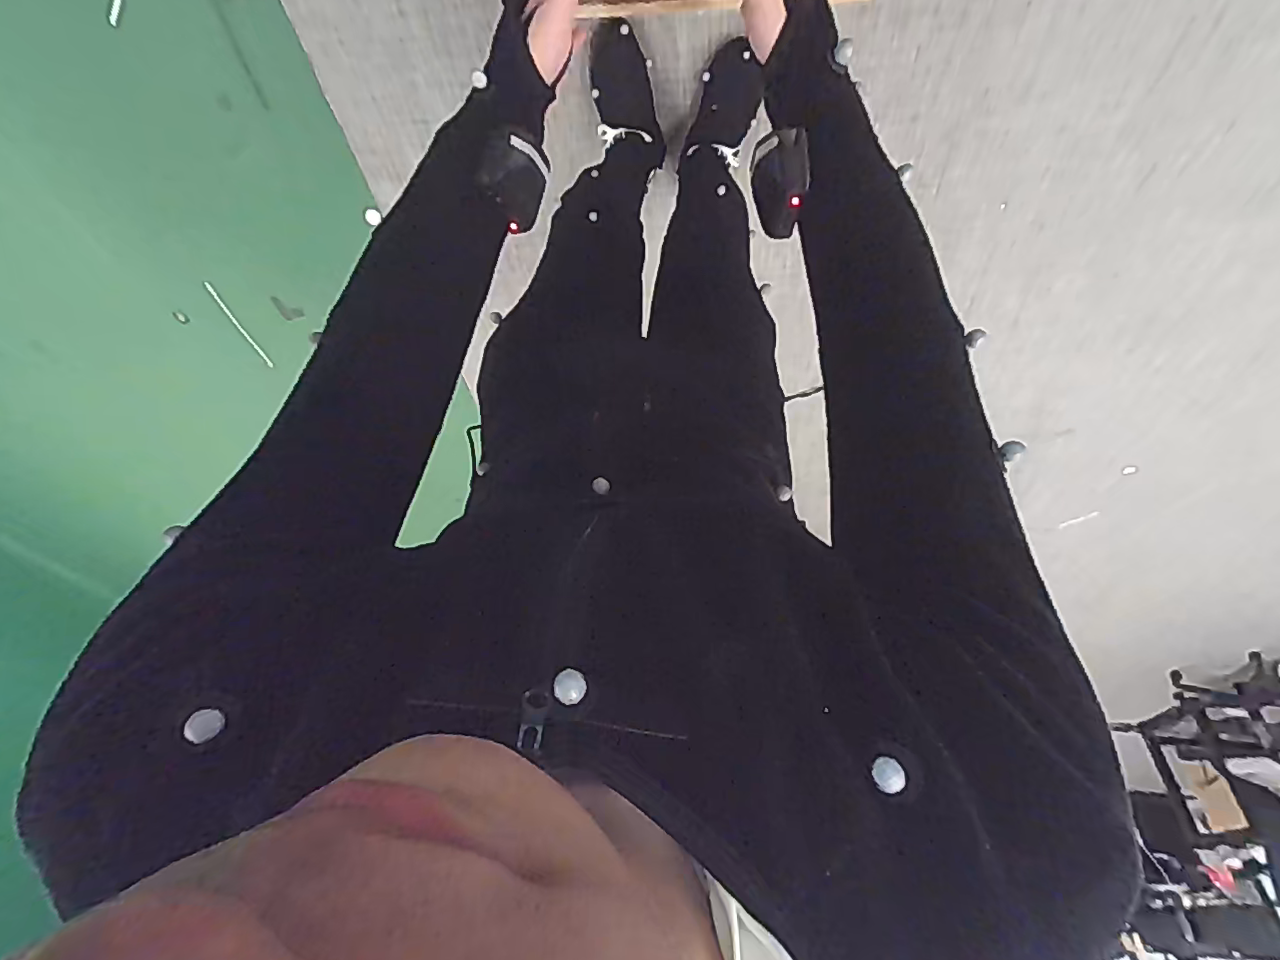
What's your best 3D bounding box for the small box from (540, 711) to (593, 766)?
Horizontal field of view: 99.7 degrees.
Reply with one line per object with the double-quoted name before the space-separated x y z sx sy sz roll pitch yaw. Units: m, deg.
"small box" -0.298 1.065 2.228 0.168 0.176 0.179 -1 140 10
